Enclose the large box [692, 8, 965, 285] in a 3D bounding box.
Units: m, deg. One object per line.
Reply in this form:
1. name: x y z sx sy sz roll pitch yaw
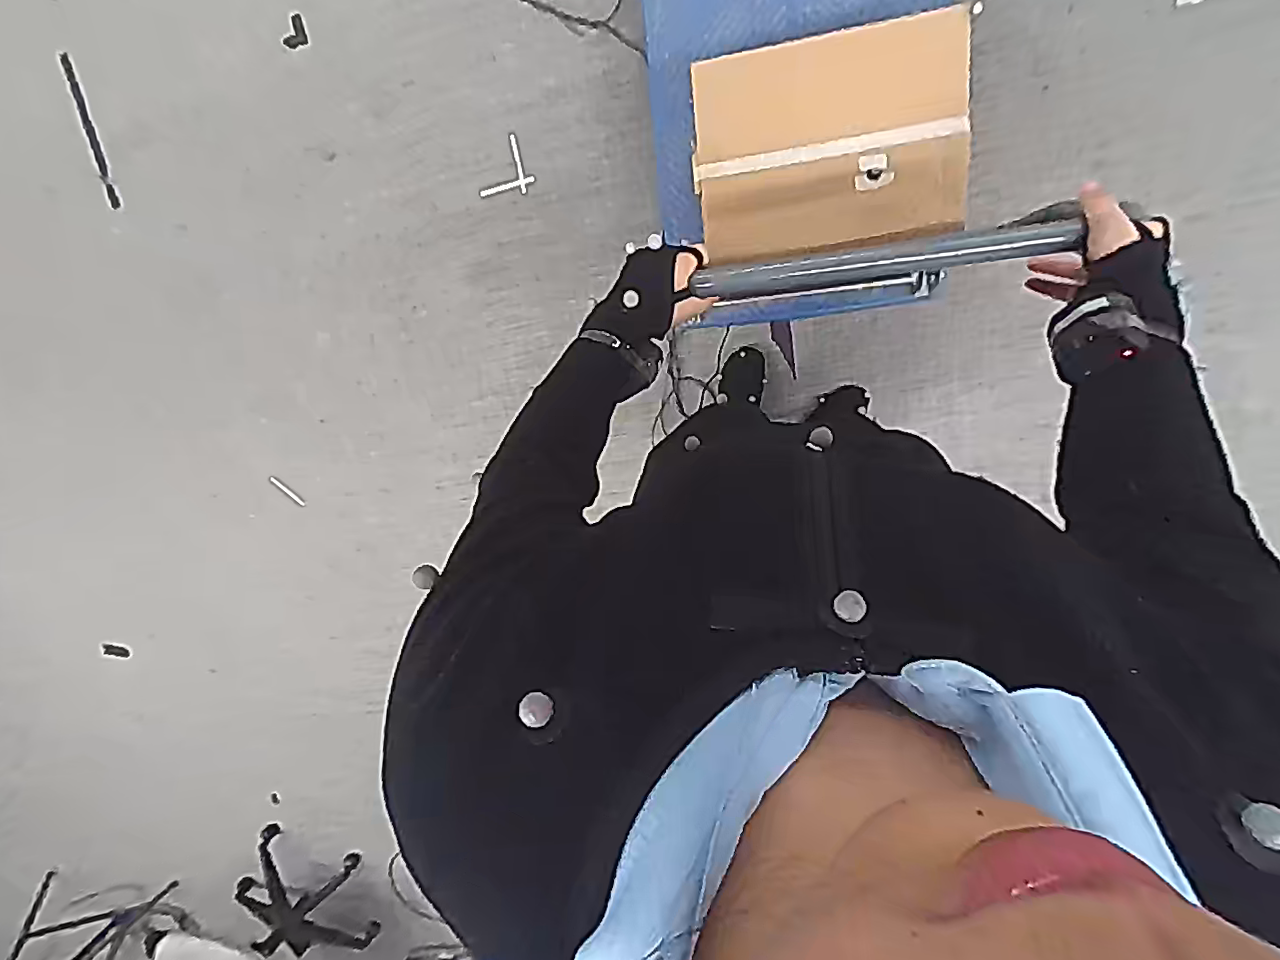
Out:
1. large box: 0.319 -0.560 0.998 0.408 0.320 0.320 -4 105 10
